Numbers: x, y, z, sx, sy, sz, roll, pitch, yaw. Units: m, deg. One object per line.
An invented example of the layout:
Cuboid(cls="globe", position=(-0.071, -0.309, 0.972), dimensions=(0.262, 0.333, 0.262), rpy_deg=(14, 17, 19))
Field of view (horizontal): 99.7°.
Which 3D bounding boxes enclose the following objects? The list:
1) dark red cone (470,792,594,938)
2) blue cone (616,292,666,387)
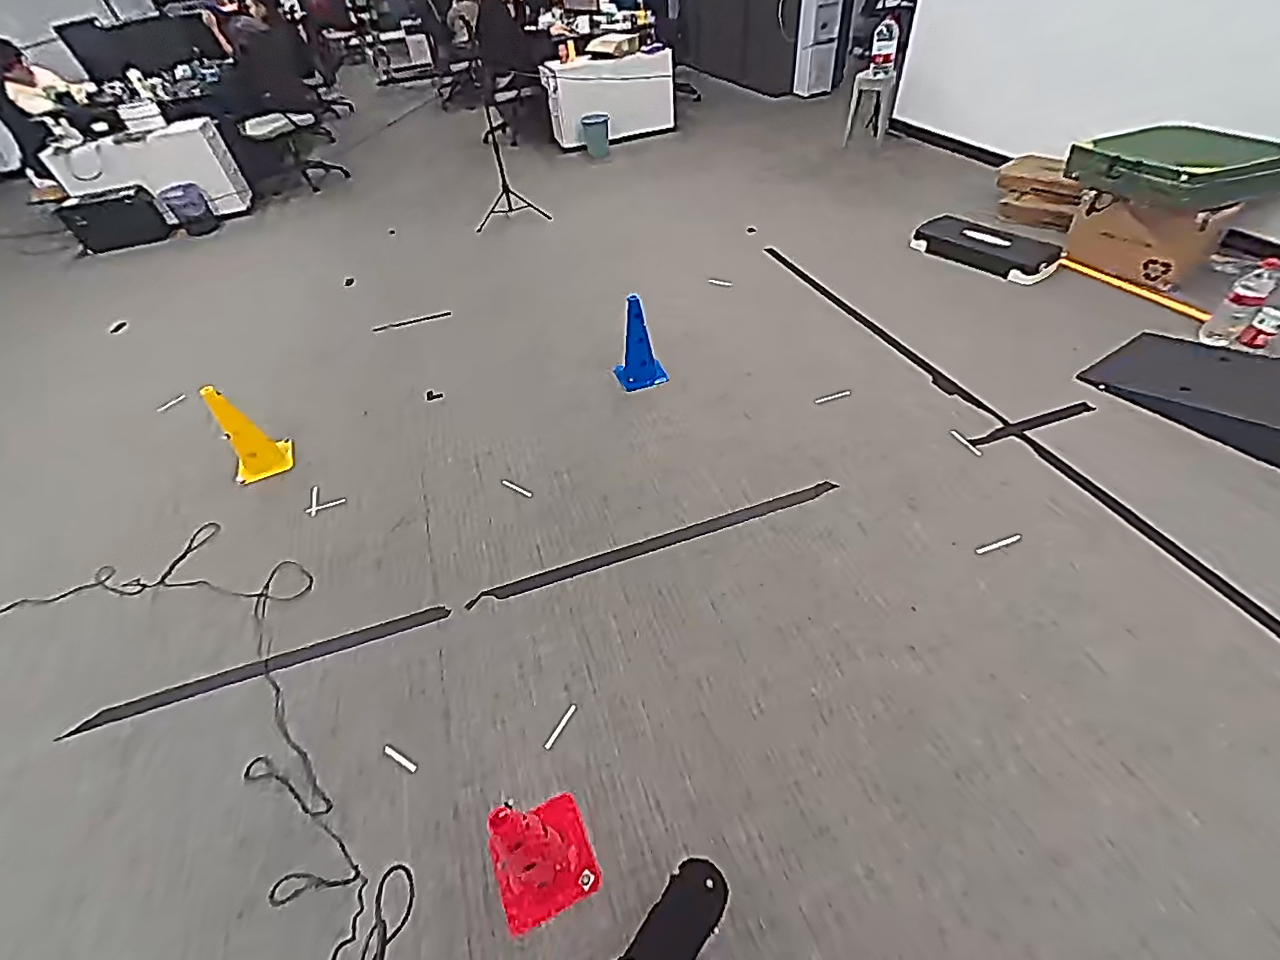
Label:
Cuboid(cls="dark red cone", position=(-0.228, 0.663, 0.992), dimensions=(0.202, 0.394, 0.201), rpy_deg=(-22, 46, -15))
Cuboid(cls="blue cone", position=(-0.008, -0.582, 2.217), dimensions=(0.193, 0.380, 0.192), rpy_deg=(-16, 45, -9))
